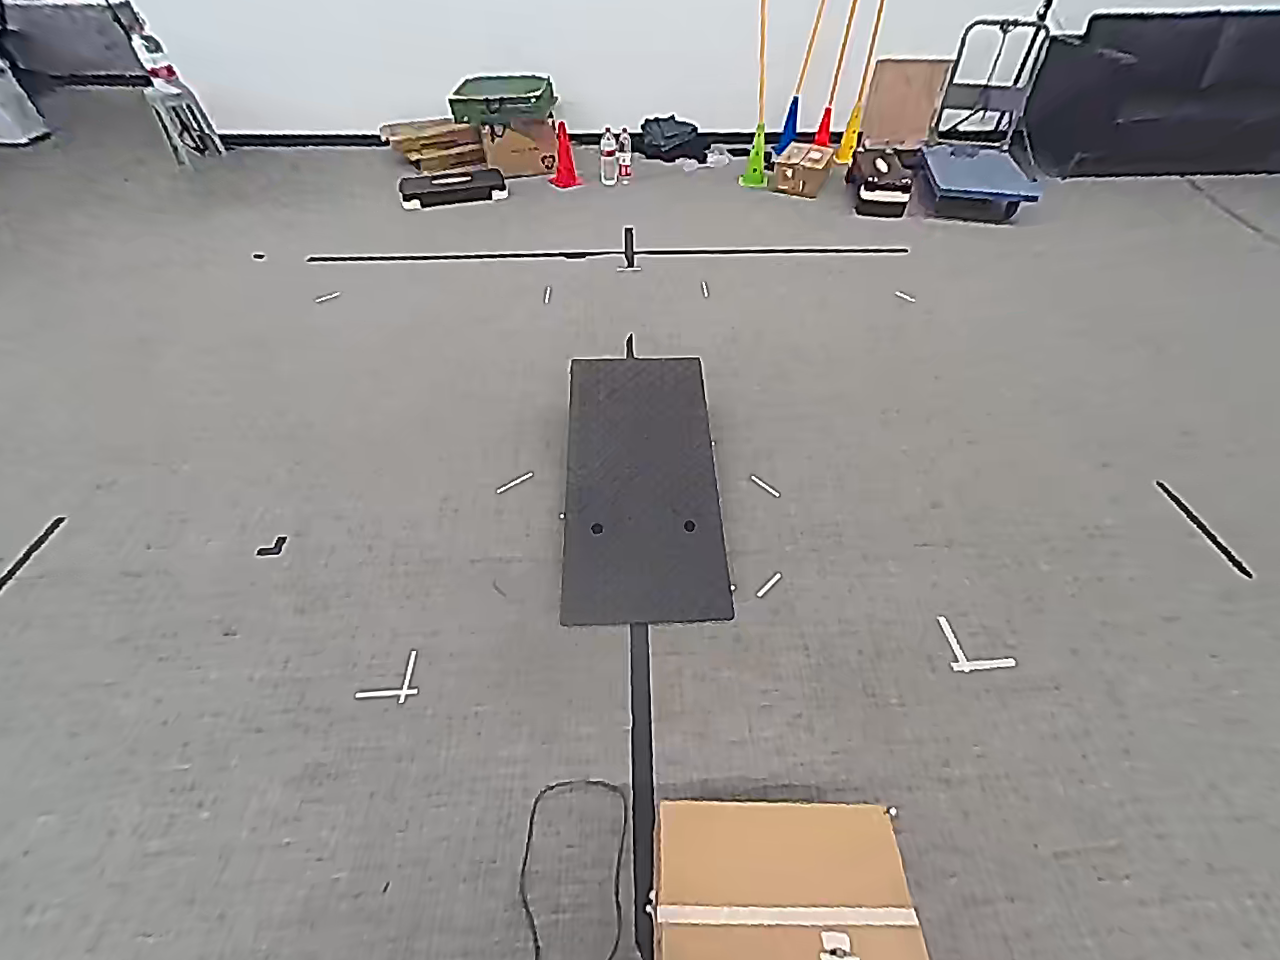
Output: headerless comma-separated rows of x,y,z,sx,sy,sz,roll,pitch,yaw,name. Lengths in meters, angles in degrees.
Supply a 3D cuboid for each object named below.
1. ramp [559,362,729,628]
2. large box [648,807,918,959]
-0.007,-0.015,1.781,0.509,0.206,0.991,-2,48,-4,ramp
0.222,0.796,0.961,0.408,0.320,0.320,2,48,-1,large box
